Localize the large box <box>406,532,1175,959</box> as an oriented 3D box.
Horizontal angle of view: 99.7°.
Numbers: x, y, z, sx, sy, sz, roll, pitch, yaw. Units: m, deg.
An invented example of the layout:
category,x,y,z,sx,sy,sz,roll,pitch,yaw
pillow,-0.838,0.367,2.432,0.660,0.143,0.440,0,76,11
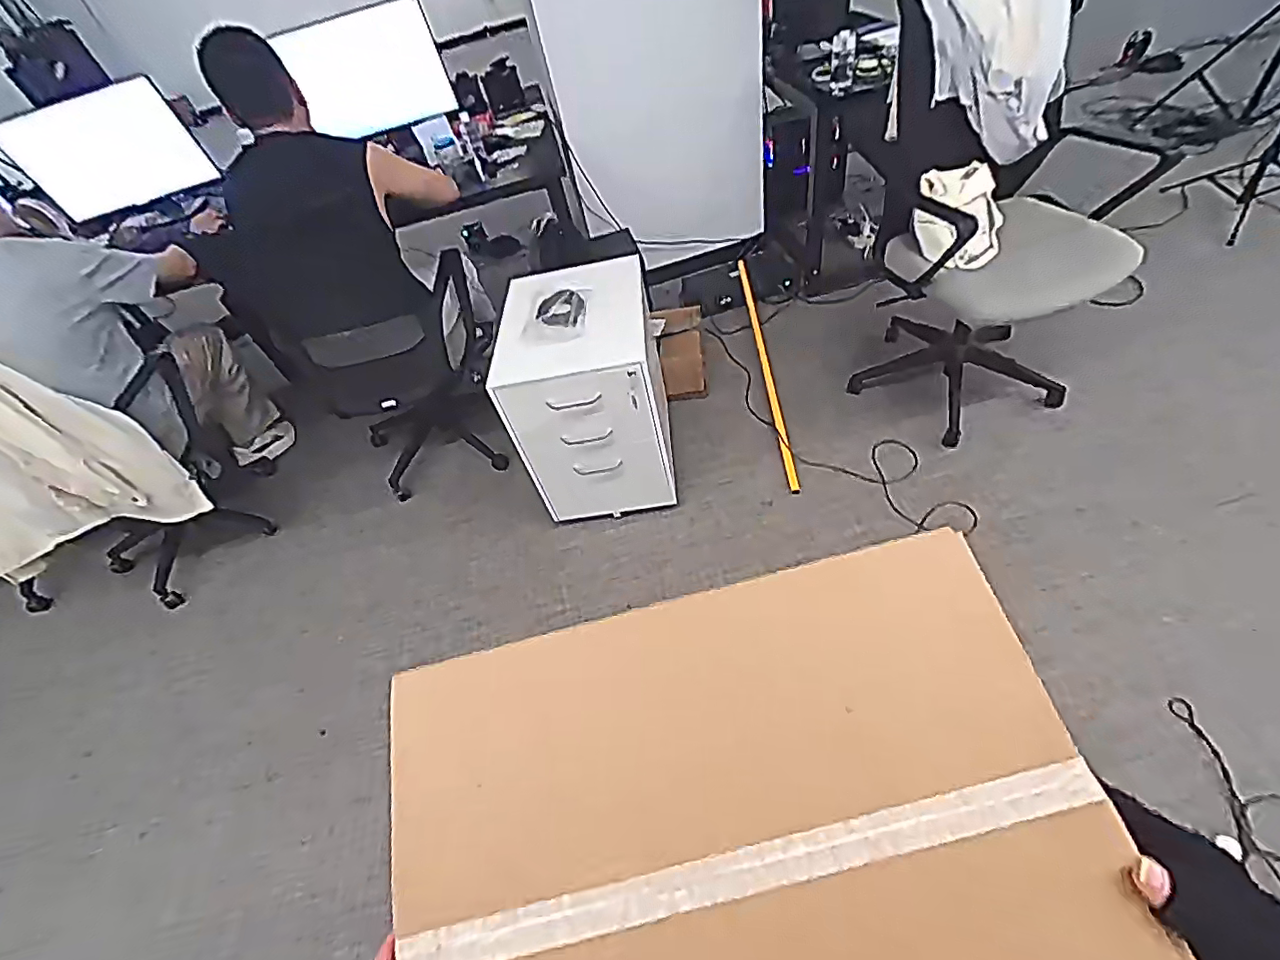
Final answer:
category,x,y,z,sx,sy,sz,roll,pitch,yaw
large box,0.081,0.285,0.450,0.408,0.320,0.320,-16,62,1
